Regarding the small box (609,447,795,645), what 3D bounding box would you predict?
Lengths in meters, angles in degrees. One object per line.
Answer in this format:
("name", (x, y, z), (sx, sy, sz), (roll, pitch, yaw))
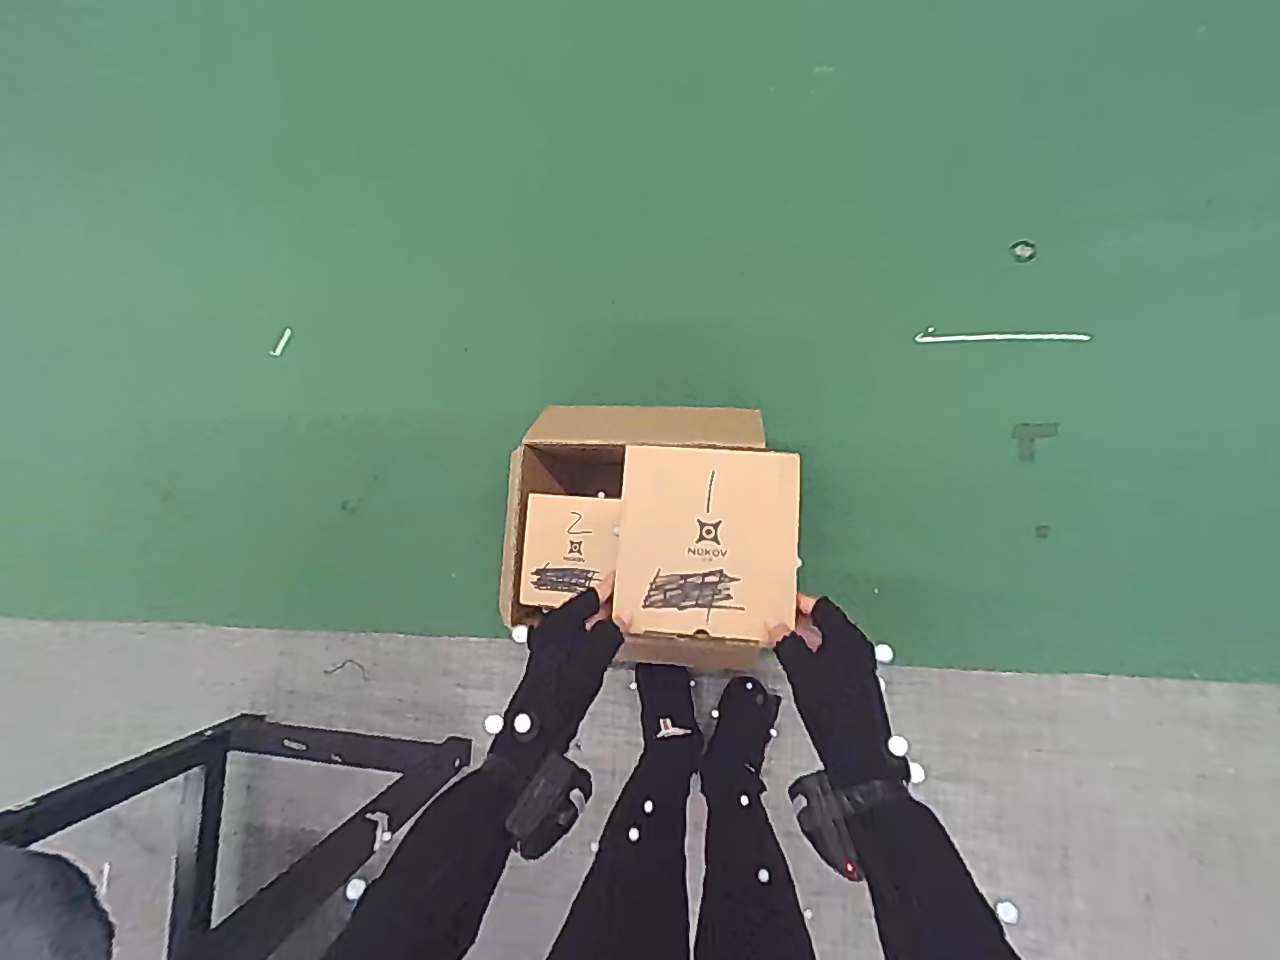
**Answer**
("small box", (0.066, 0.071, 0.584), (0.168, 0.176, 0.179), (3, 80, 5))
